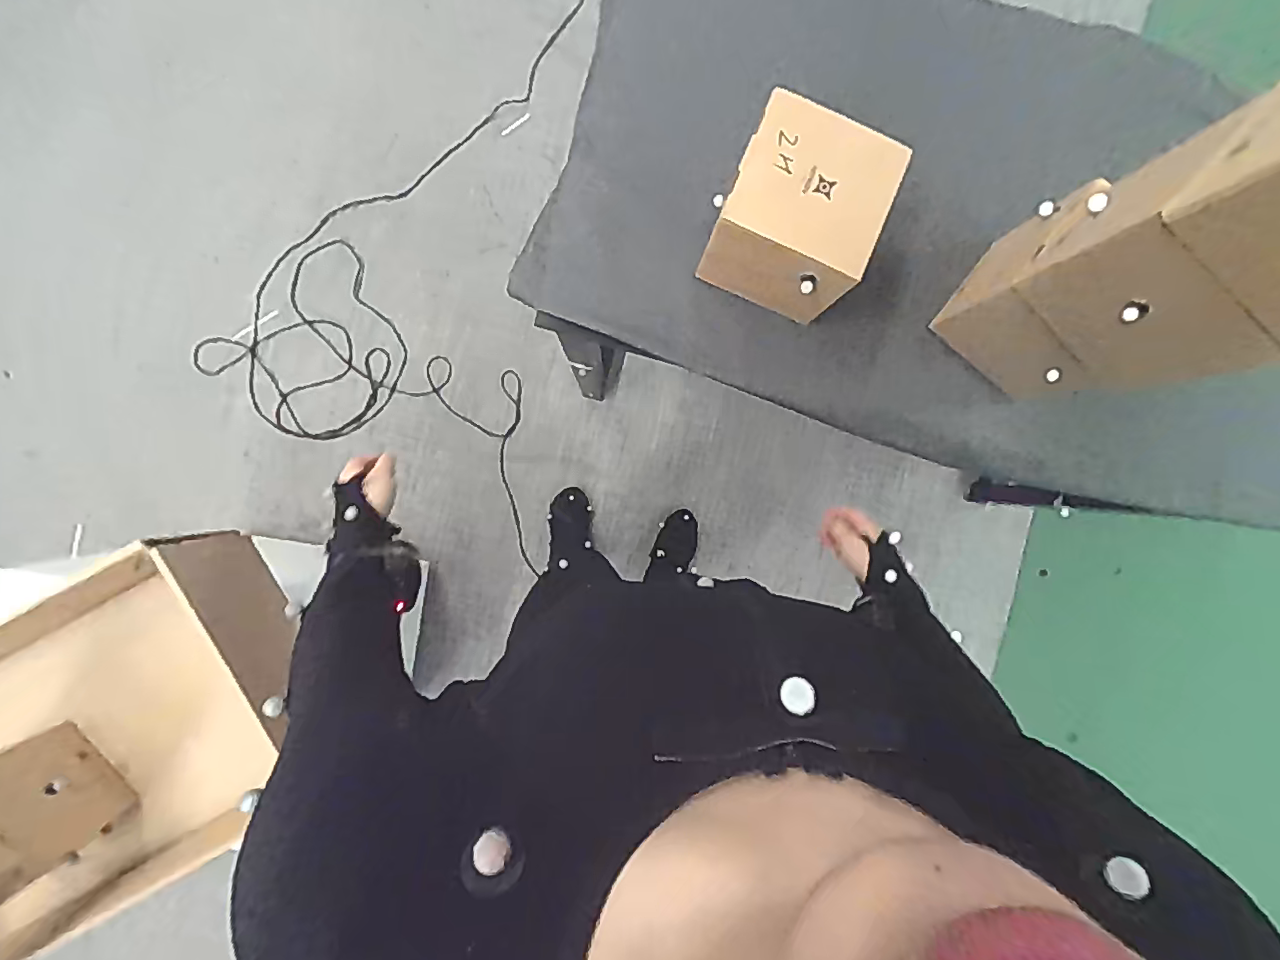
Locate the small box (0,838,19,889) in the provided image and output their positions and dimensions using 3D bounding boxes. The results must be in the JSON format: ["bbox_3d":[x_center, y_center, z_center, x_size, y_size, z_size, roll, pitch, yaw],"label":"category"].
[{"bbox_3d":[-0.858,0.472,0.570,0.179,0.176,0.168,32,90,-5],"label":"small box"}]

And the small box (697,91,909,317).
[{"bbox_3d":[0.191,-0.327,0.683,0.179,0.176,0.168,23,88,-2],"label":"small box"}]

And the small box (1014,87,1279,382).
[{"bbox_3d":[0.534,-0.214,0.532,0.168,0.176,0.179,-44,91,-3],"label":"small box"}]
